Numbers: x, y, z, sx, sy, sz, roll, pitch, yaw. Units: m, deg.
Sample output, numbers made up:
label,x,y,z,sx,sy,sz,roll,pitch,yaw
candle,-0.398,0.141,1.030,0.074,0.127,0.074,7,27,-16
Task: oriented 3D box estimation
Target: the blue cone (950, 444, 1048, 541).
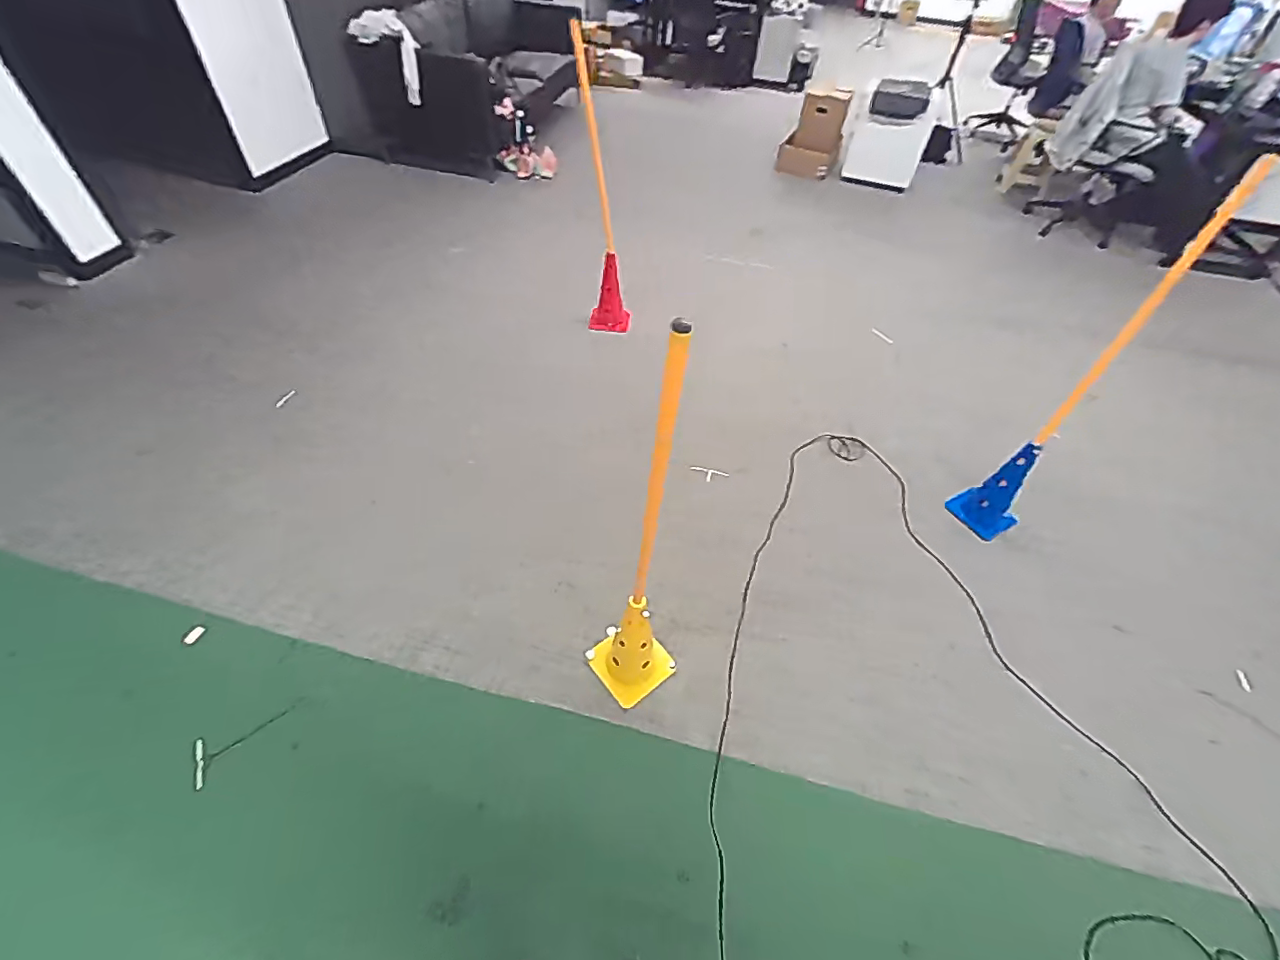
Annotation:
label,x,y,z,sx,sy,sz,roll,pitch,yaw
blue cone,1.283,0.016,1.891,0.193,0.380,0.192,-21,52,-25
